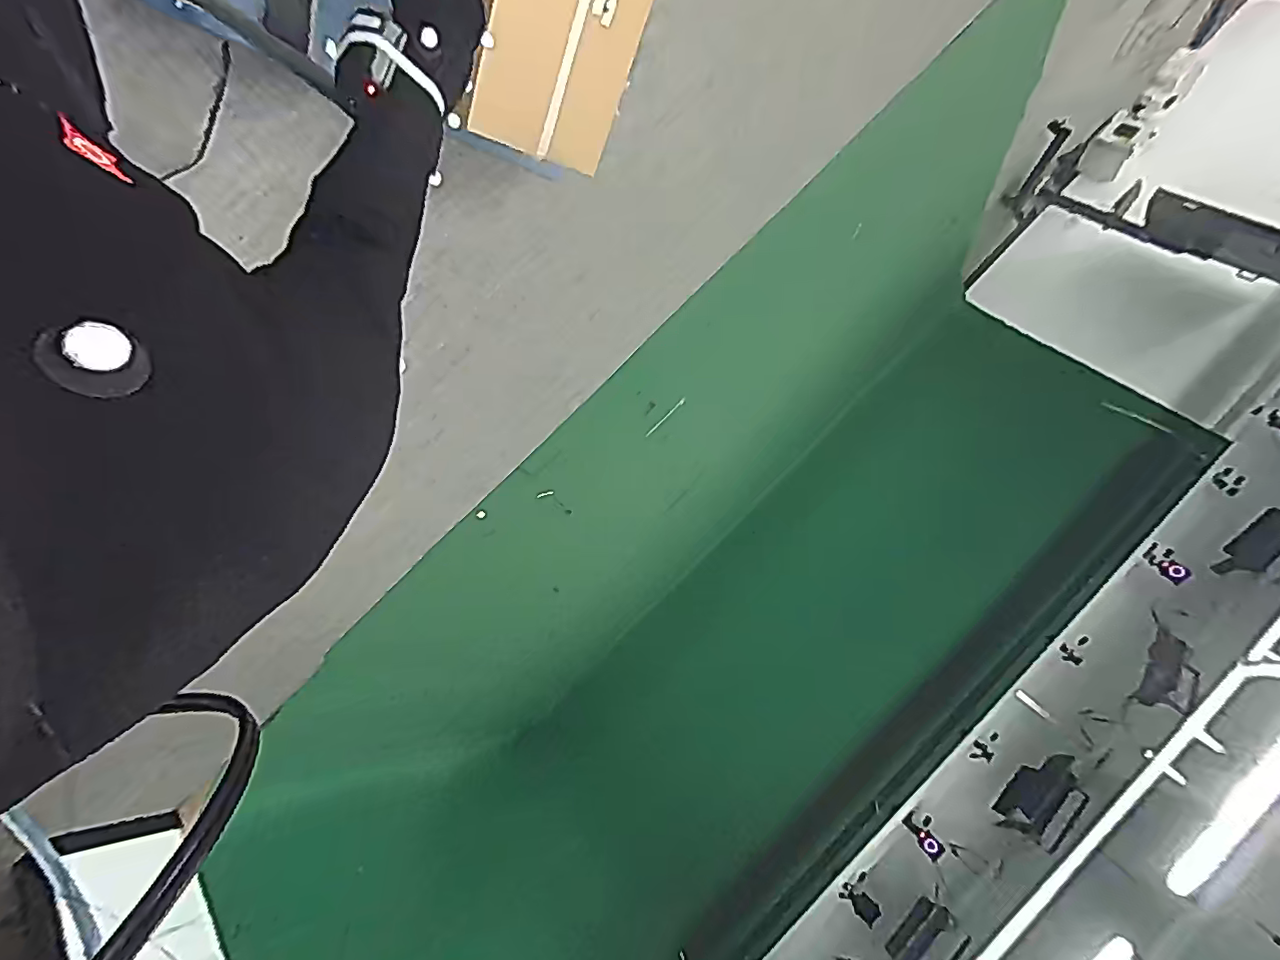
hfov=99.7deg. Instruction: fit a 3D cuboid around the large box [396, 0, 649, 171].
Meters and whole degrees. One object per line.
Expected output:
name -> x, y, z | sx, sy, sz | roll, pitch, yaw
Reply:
large box -> -0.219, -0.872, 1.008 | 0.320, 0.320, 0.408 | -15, 139, -48
